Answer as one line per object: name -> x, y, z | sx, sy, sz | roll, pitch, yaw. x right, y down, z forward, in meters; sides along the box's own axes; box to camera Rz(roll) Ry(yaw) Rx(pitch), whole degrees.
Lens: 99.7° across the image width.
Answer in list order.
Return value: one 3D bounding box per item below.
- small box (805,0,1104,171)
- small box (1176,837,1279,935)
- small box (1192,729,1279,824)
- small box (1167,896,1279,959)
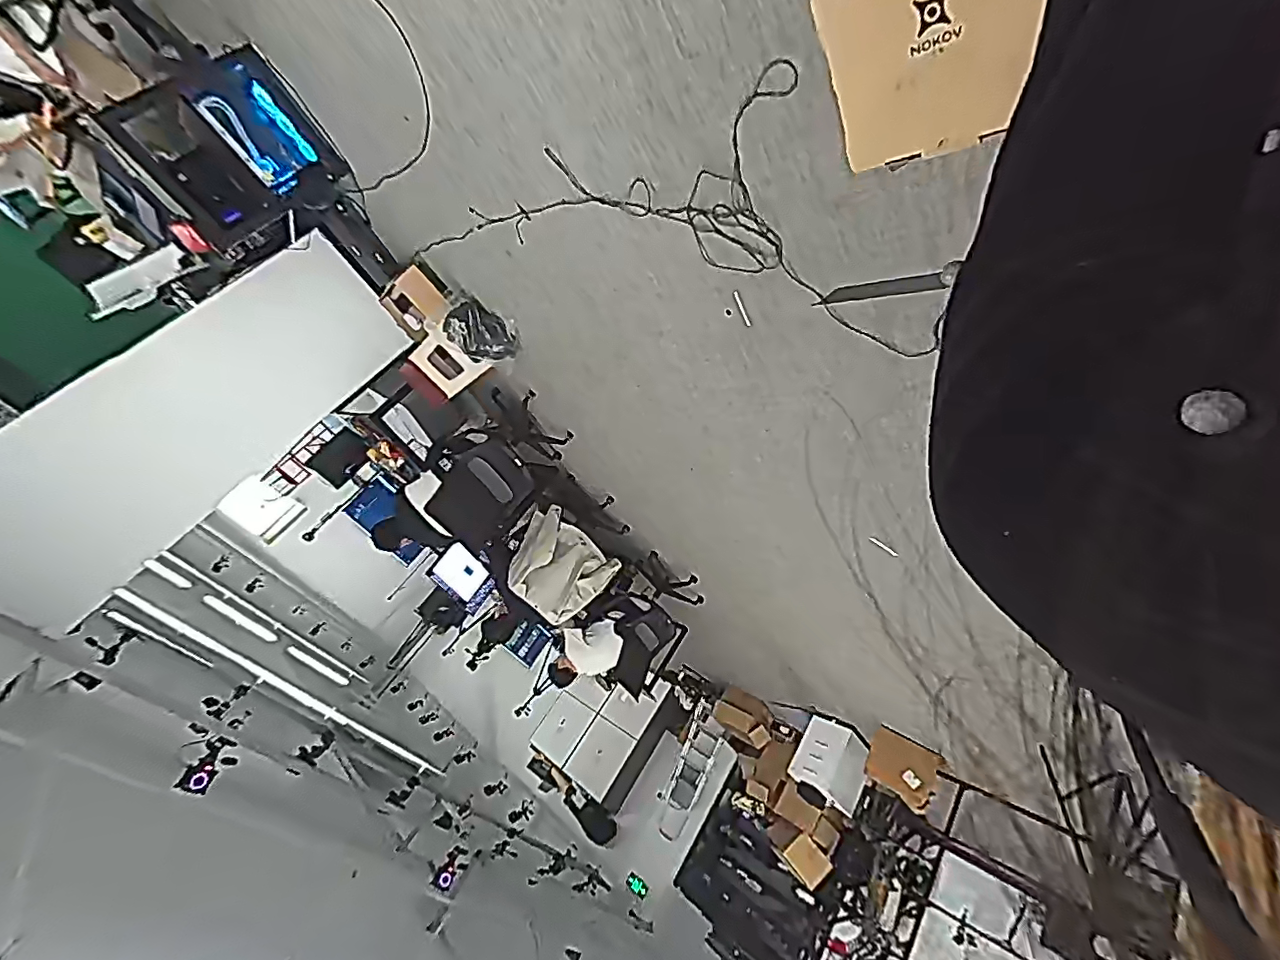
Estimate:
small box -> 0.257, -0.396, 0.436 | 0.168, 0.176, 0.179 | 9, 144, 45
small box -> 1.636, 1.130, 1.503 | 0.179, 0.176, 0.168 | 12, 145, 44
small box -> 1.816, 0.891, 1.640 | 0.179, 0.176, 0.168 | 10, 143, 47
small box -> 1.547, 1.247, 1.436 | 0.179, 0.176, 0.168 | 12, 144, 43
